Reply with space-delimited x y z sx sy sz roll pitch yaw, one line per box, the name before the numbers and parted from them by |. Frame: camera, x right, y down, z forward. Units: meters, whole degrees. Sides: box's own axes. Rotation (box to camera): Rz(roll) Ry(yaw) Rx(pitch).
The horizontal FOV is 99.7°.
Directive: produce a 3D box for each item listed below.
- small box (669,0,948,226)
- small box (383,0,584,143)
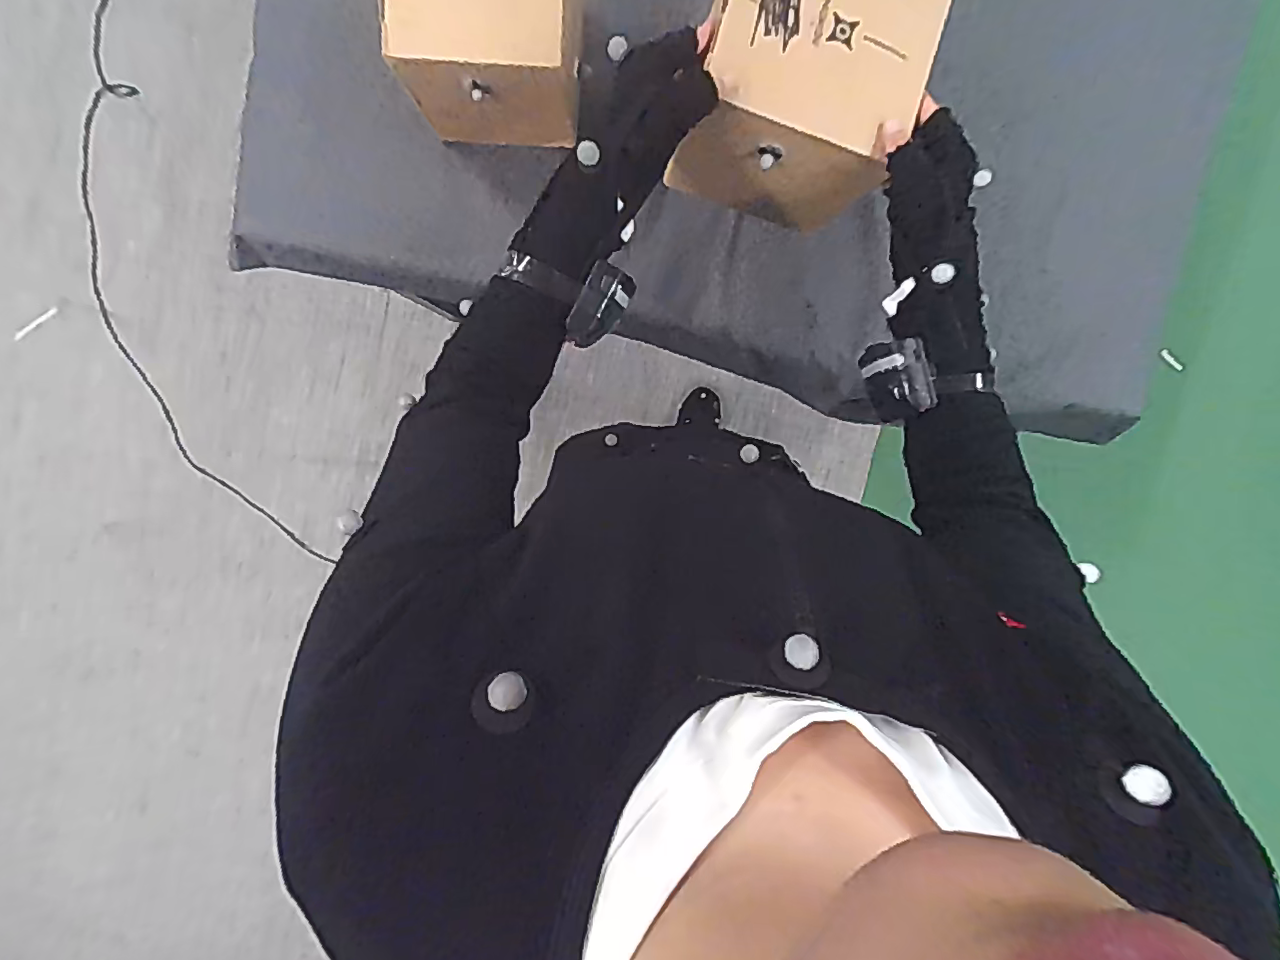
small box | 0.137 -0.359 0.496 0.179 0.176 0.168 15 96 -9
small box | -0.159 -0.498 0.593 0.179 0.176 0.168 2 98 -2
